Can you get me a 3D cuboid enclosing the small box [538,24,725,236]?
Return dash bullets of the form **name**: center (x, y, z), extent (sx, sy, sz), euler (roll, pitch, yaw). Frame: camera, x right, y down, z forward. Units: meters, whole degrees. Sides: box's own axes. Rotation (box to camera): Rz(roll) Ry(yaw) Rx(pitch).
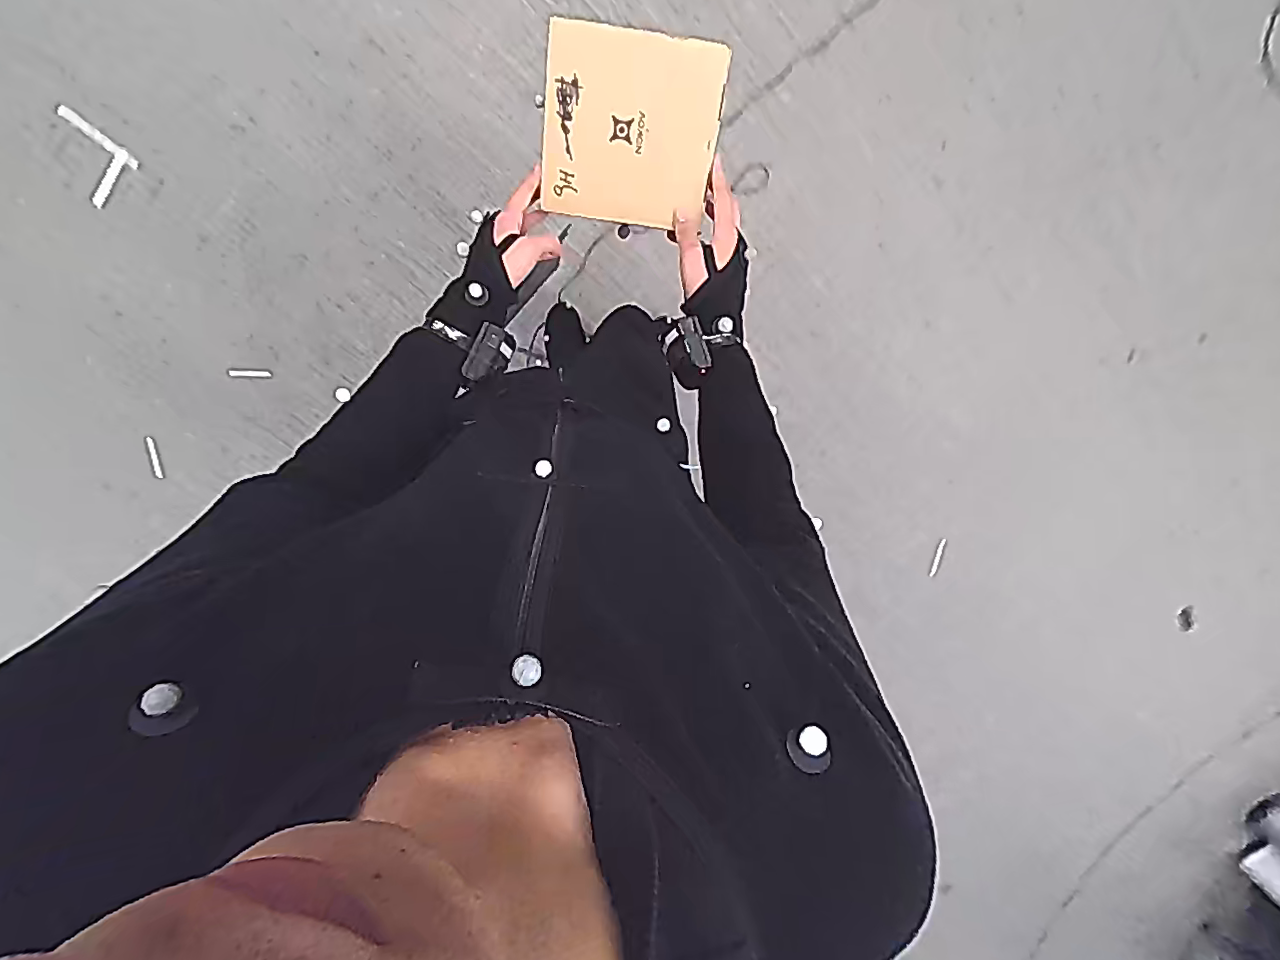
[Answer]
- **small box**: center (-0.014, -0.386, 0.623), extent (0.179, 0.176, 0.168), euler (7, 116, -3)
